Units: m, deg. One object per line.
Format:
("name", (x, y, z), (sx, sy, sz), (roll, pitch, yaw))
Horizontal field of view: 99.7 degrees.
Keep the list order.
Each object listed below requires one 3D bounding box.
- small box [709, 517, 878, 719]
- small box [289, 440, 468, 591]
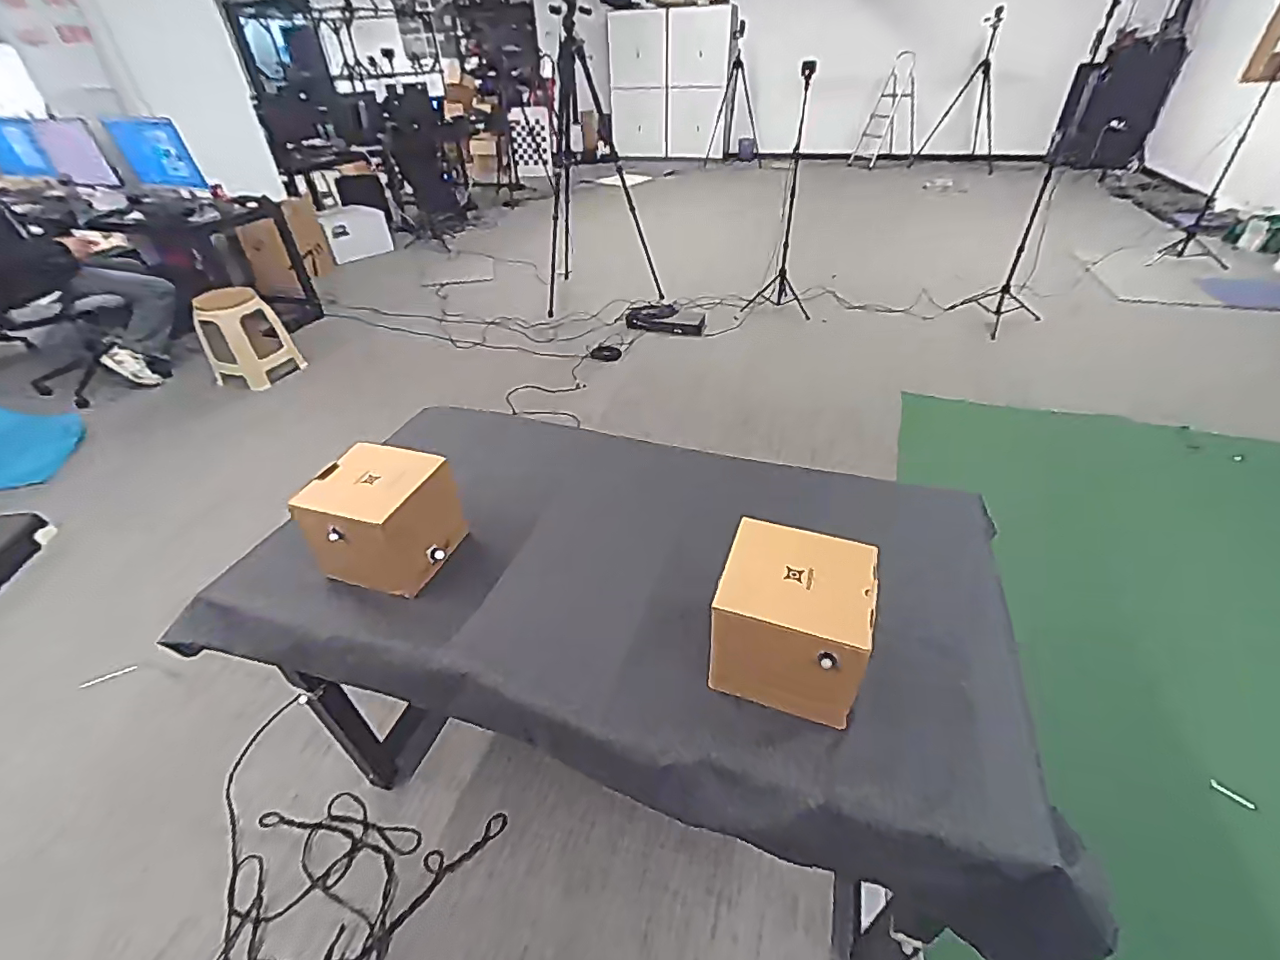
("small box", (0.194, 0.177, 0.700), (0.179, 0.176, 0.168), (12, 40, 18))
("small box", (-0.411, 0.058, 0.882), (0.179, 0.176, 0.168), (11, 41, 14))
